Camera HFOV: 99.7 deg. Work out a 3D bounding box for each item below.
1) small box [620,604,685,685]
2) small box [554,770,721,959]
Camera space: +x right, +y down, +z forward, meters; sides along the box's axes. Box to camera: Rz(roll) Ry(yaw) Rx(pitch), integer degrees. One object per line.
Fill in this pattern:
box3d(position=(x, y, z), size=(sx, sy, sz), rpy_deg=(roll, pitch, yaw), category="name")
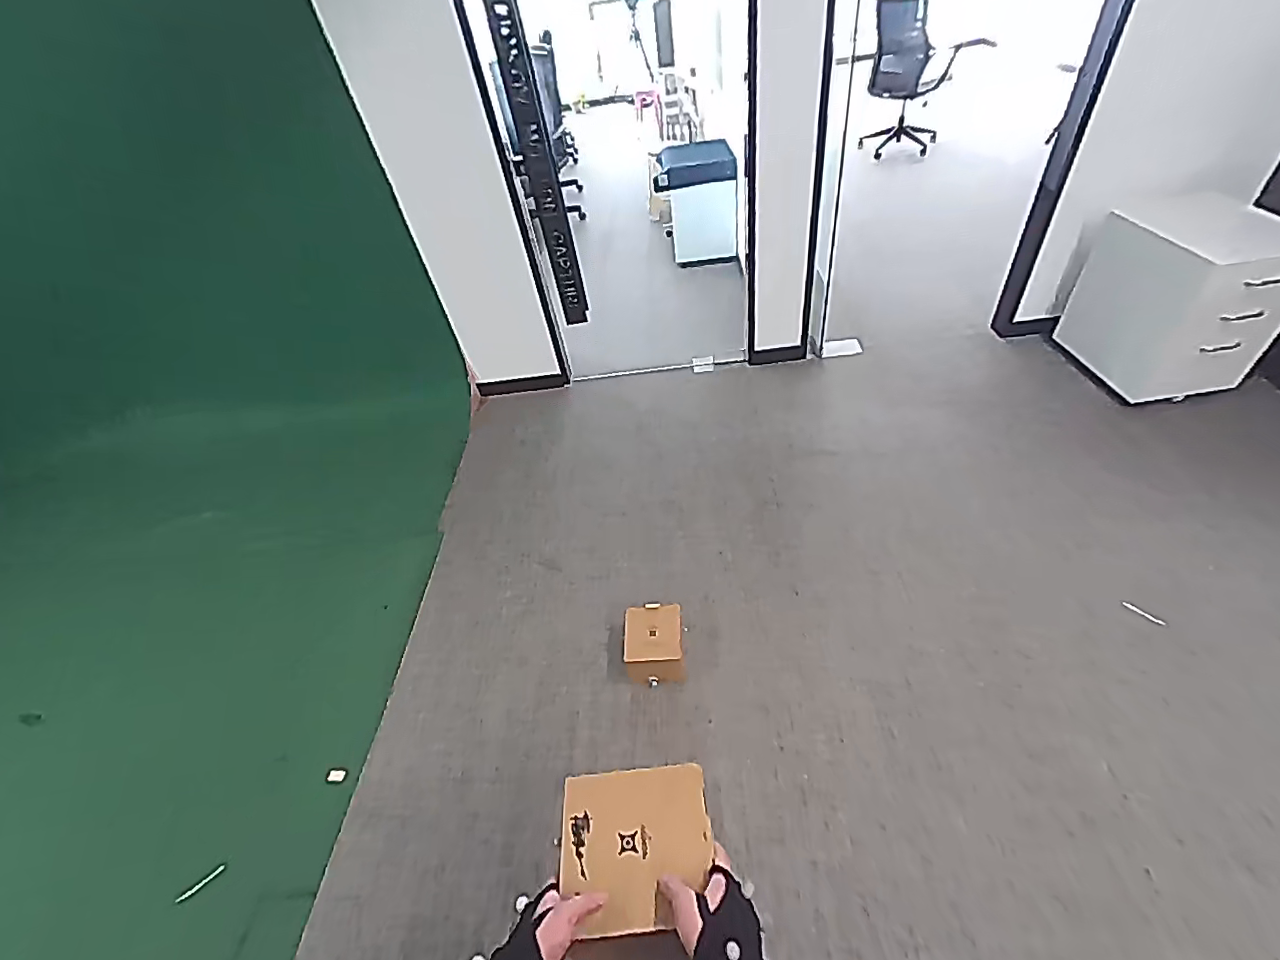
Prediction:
box3d(position=(0.042, 0.491, 1.615), size=(0.168, 0.176, 0.179), rpy_deg=(-4, 45, 10), category="small box")
box3d(position=(0.000, 0.485, 0.667), size=(0.179, 0.176, 0.168), rpy_deg=(-5, 36, 1), category="small box")
